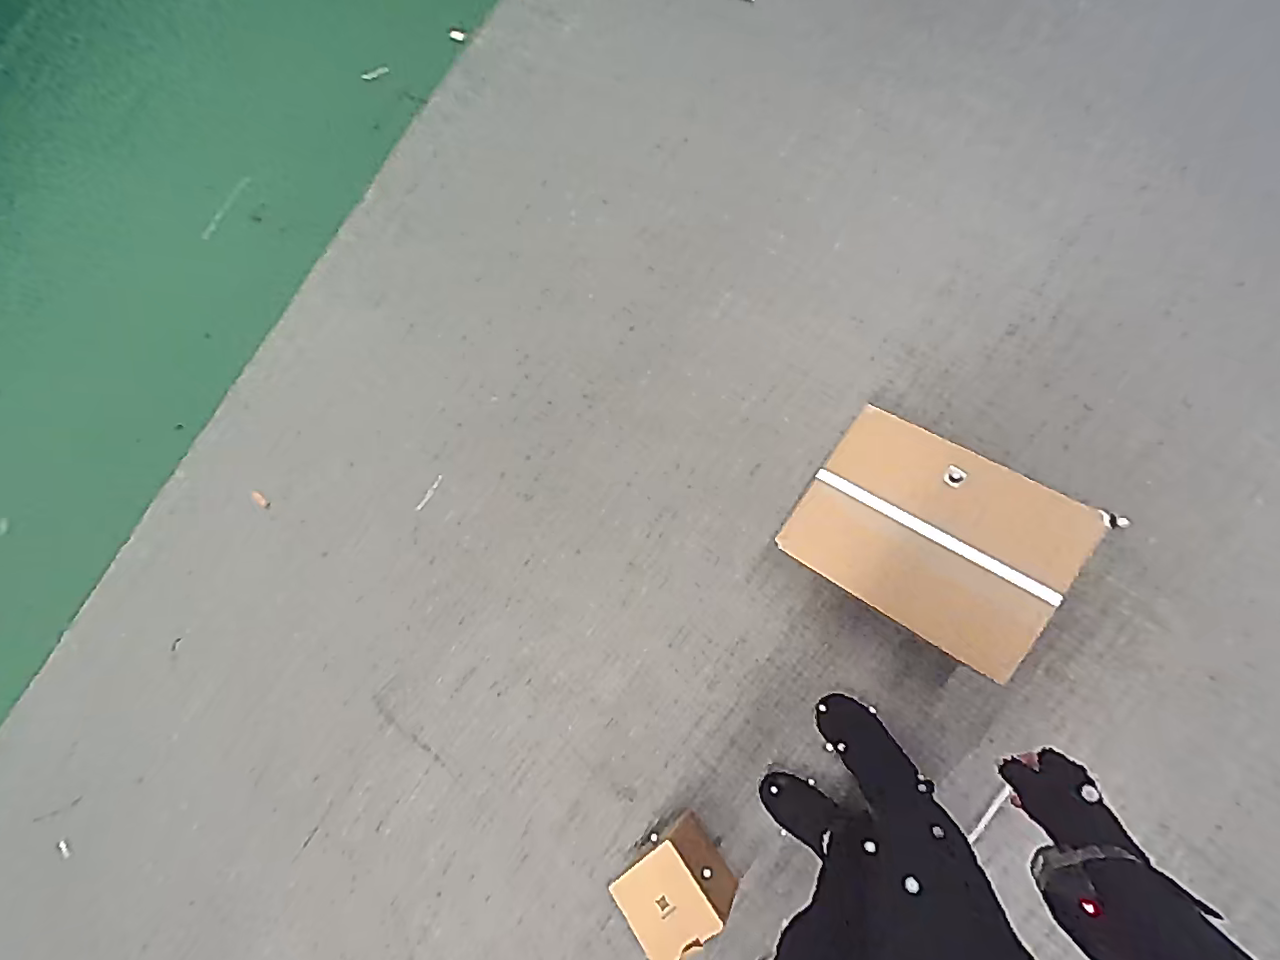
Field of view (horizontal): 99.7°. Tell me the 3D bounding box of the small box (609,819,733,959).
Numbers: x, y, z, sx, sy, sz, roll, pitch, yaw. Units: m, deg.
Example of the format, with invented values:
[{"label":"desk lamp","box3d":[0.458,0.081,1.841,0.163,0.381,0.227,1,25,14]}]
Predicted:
[{"label":"small box","box3d":[0.070,0.842,1.119,0.168,0.176,0.179,-43,69,6]}]
